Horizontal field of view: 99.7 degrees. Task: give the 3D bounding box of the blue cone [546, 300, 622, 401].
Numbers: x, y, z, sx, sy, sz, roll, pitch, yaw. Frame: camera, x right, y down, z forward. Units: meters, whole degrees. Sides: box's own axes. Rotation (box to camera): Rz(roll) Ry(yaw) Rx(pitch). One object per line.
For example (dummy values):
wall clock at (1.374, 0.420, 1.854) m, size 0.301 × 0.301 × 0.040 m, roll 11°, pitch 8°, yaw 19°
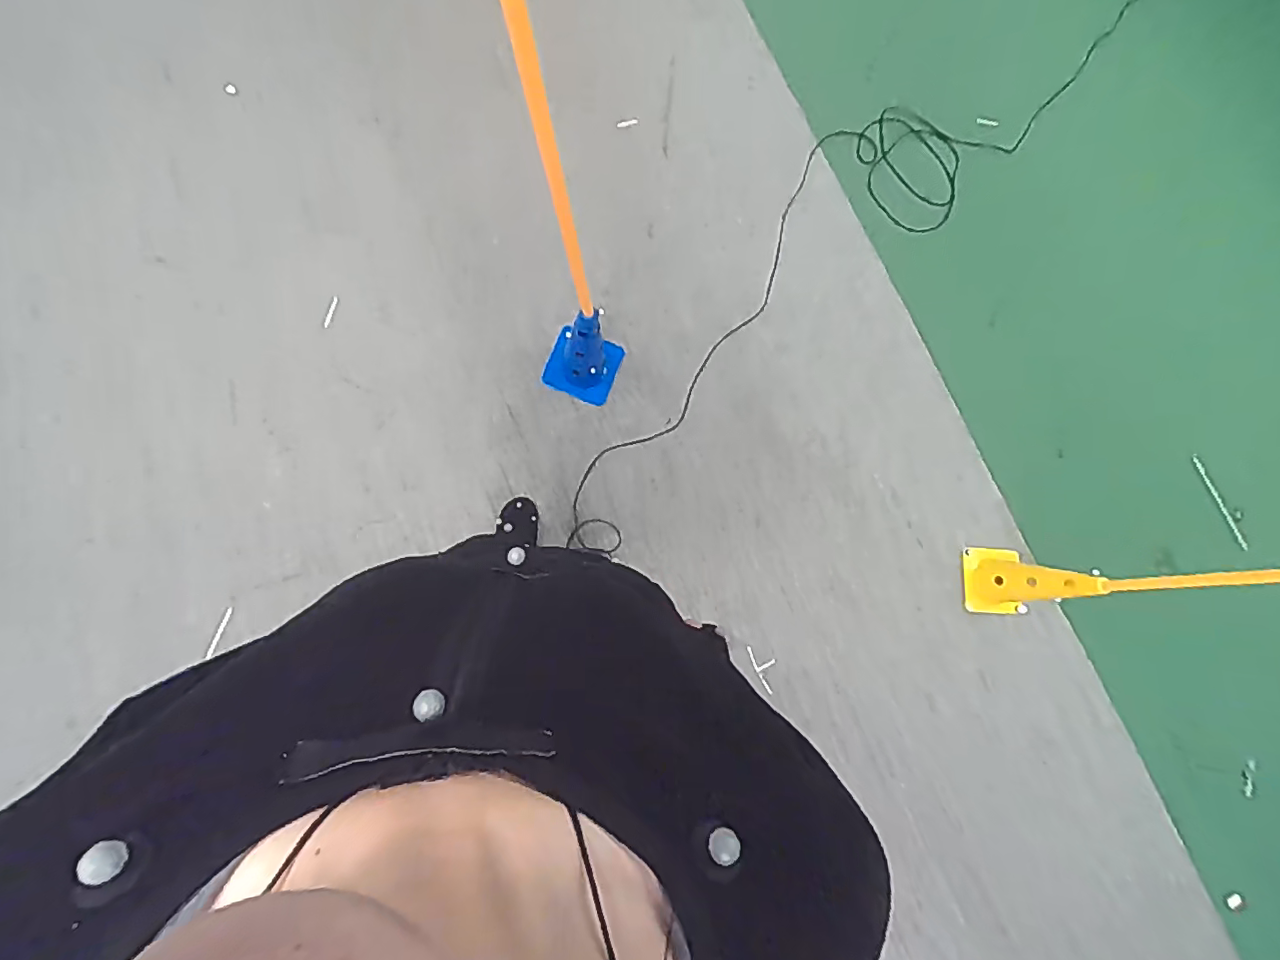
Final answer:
blue cone at (-0.141, -0.356, 1.407) m, size 0.193 × 0.380 × 0.192 m, roll 20°, pitch 79°, yaw -4°
